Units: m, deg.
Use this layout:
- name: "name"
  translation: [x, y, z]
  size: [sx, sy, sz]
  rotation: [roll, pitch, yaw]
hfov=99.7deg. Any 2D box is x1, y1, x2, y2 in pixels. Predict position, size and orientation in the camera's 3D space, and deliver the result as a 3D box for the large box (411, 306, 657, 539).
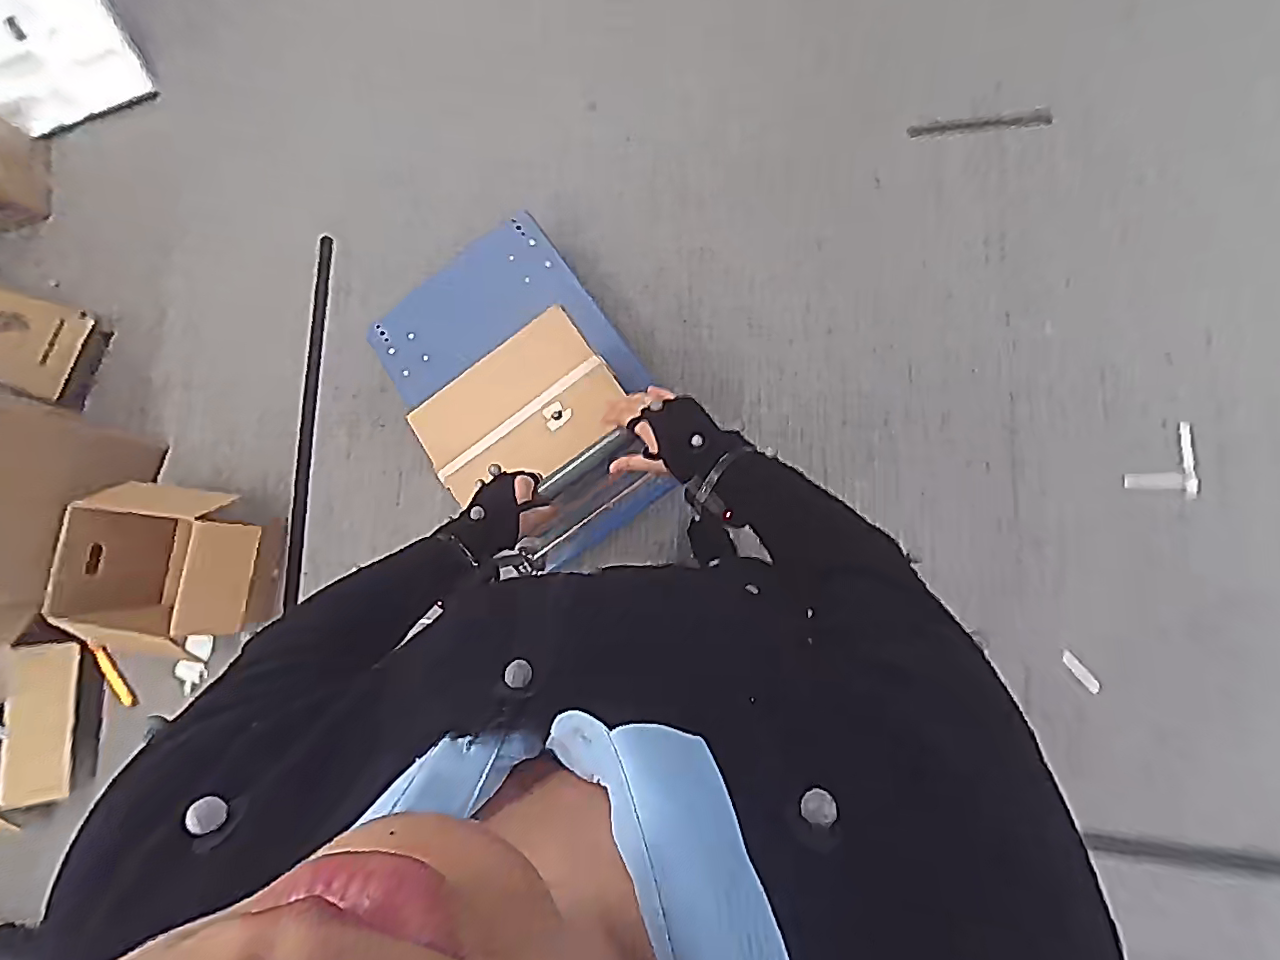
- name: "large box"
  translation: [-0.220, -0.104, 1.246]
  size: [0.408, 0.320, 0.320]
  rotation: [-36, 80, 2]
